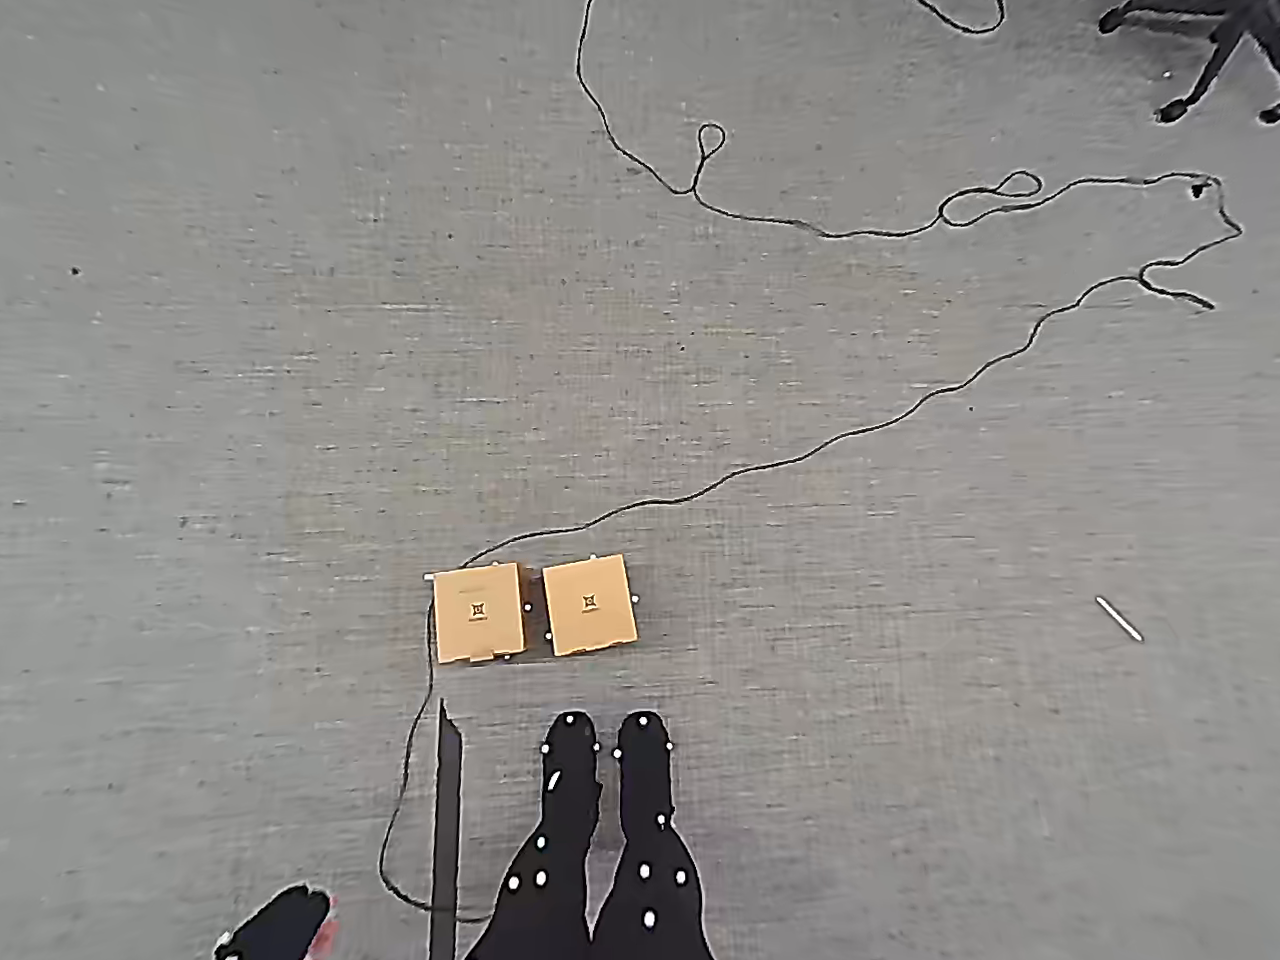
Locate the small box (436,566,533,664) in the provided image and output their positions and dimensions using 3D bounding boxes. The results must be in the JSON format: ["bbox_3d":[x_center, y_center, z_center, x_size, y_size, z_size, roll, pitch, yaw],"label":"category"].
[{"bbox_3d":[-0.321,0.279,1.139,0.168,0.176,0.179,-5,78,-6],"label":"small box"}]

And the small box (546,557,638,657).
[{"bbox_3d":[-0.105,0.269,1.159,0.168,0.176,0.179,-9,79,-6],"label":"small box"}]
